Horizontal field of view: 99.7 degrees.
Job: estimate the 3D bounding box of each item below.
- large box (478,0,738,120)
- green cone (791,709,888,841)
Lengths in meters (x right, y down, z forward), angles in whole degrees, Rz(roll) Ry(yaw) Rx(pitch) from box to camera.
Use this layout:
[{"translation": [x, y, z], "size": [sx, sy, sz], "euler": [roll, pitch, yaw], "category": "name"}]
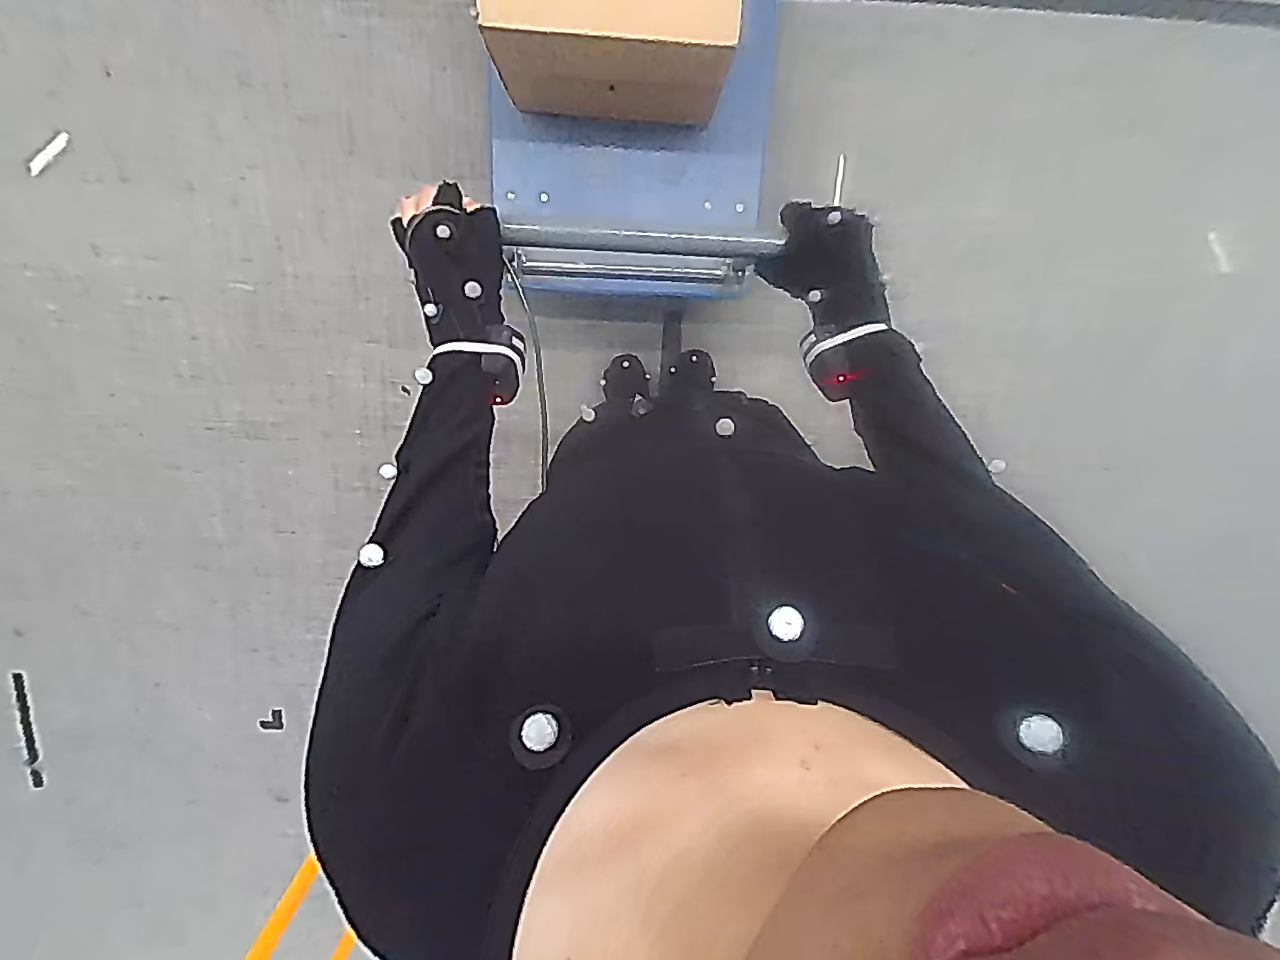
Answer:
[{"translation": [-0.045, -0.868, 0.947], "size": [0.408, 0.320, 0.320], "euler": [3, 103, -2], "category": "large box"}, {"translation": [0.589, 0.850, 1.528], "size": [0.202, 0.368, 0.200], "euler": [6, 103, -4], "category": "green cone"}]
